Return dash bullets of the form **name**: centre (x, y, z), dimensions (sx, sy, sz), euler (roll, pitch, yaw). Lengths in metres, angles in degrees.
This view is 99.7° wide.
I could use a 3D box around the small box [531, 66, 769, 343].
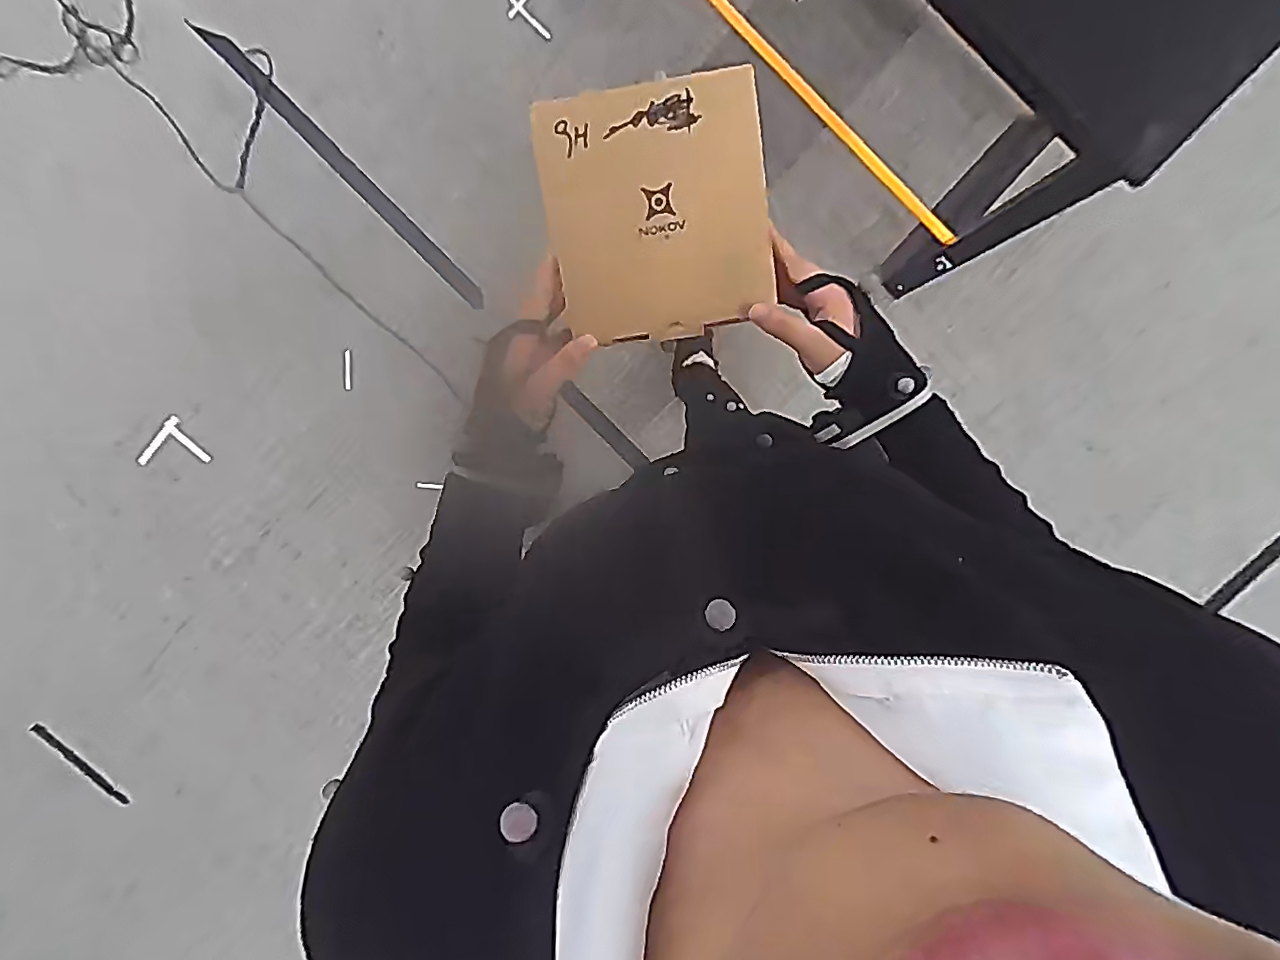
- **small box**: centre (0.011, -0.229, 0.494), dimensions (0.168, 0.176, 0.179), euler (-10, 105, 1)
